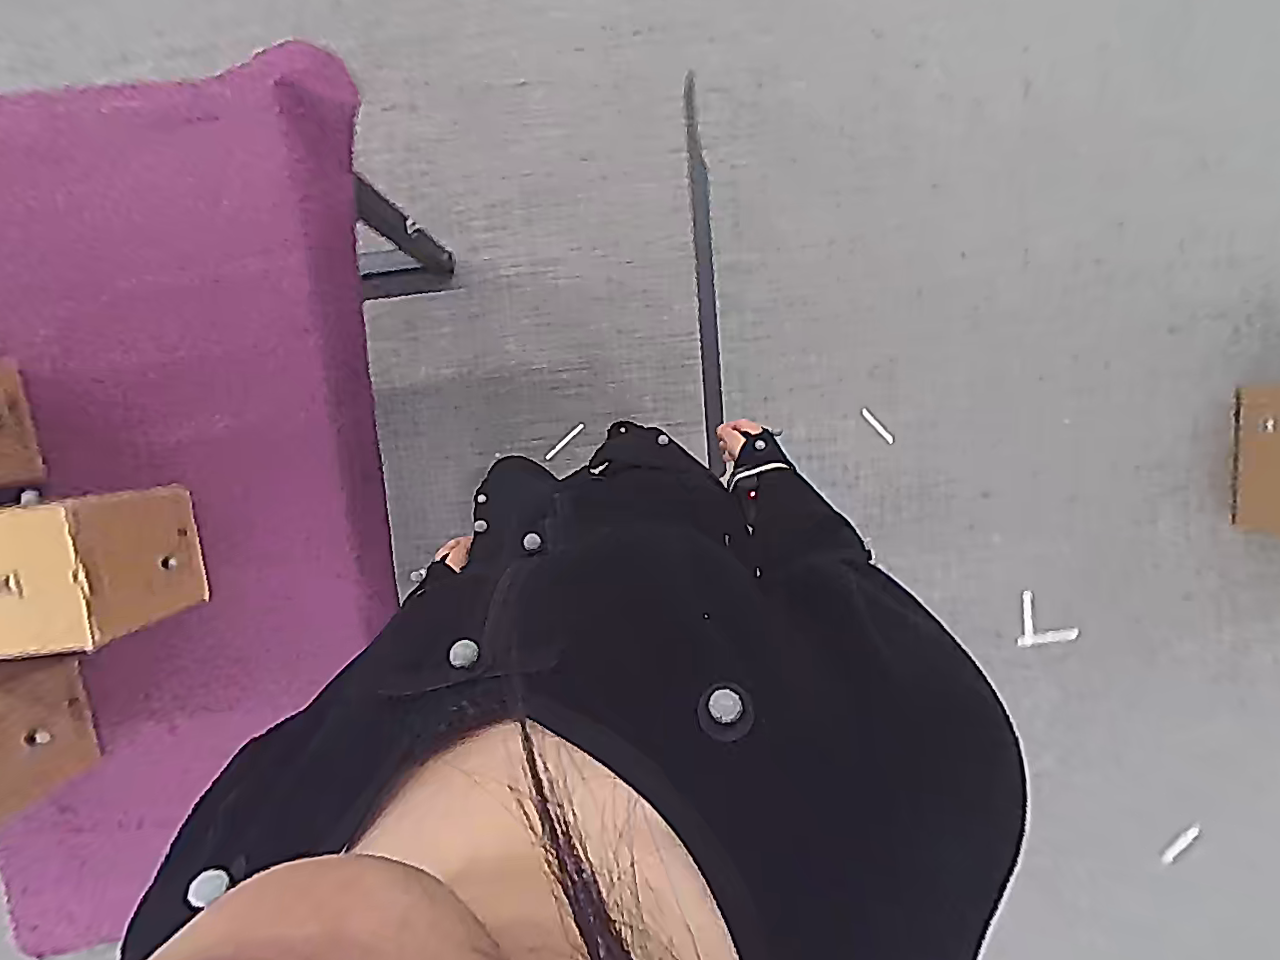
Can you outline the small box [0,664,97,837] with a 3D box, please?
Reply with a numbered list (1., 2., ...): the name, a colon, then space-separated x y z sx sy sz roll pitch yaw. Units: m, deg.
1. small box: -0.882 0.361 0.715 0.179 0.176 0.168 -7 96 -2
